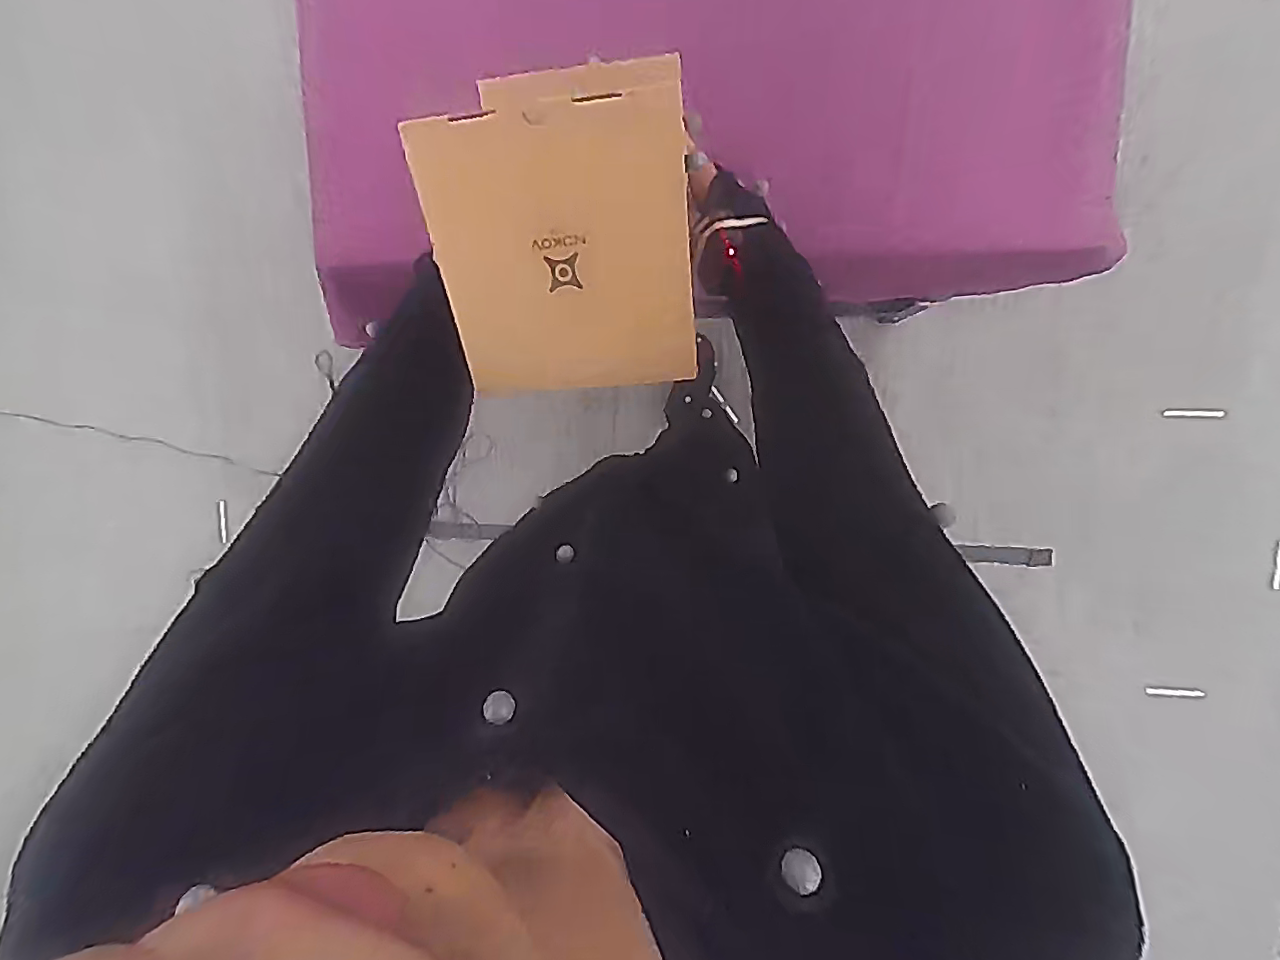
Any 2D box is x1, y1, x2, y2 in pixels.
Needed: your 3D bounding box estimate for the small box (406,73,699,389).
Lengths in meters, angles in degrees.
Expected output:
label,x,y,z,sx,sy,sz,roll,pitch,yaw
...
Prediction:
label,x,y,z,sx,sy,sz,roll,pitch,yaw
small box,-0.041,-0.188,0.415,0.168,0.176,0.179,-5,122,7
